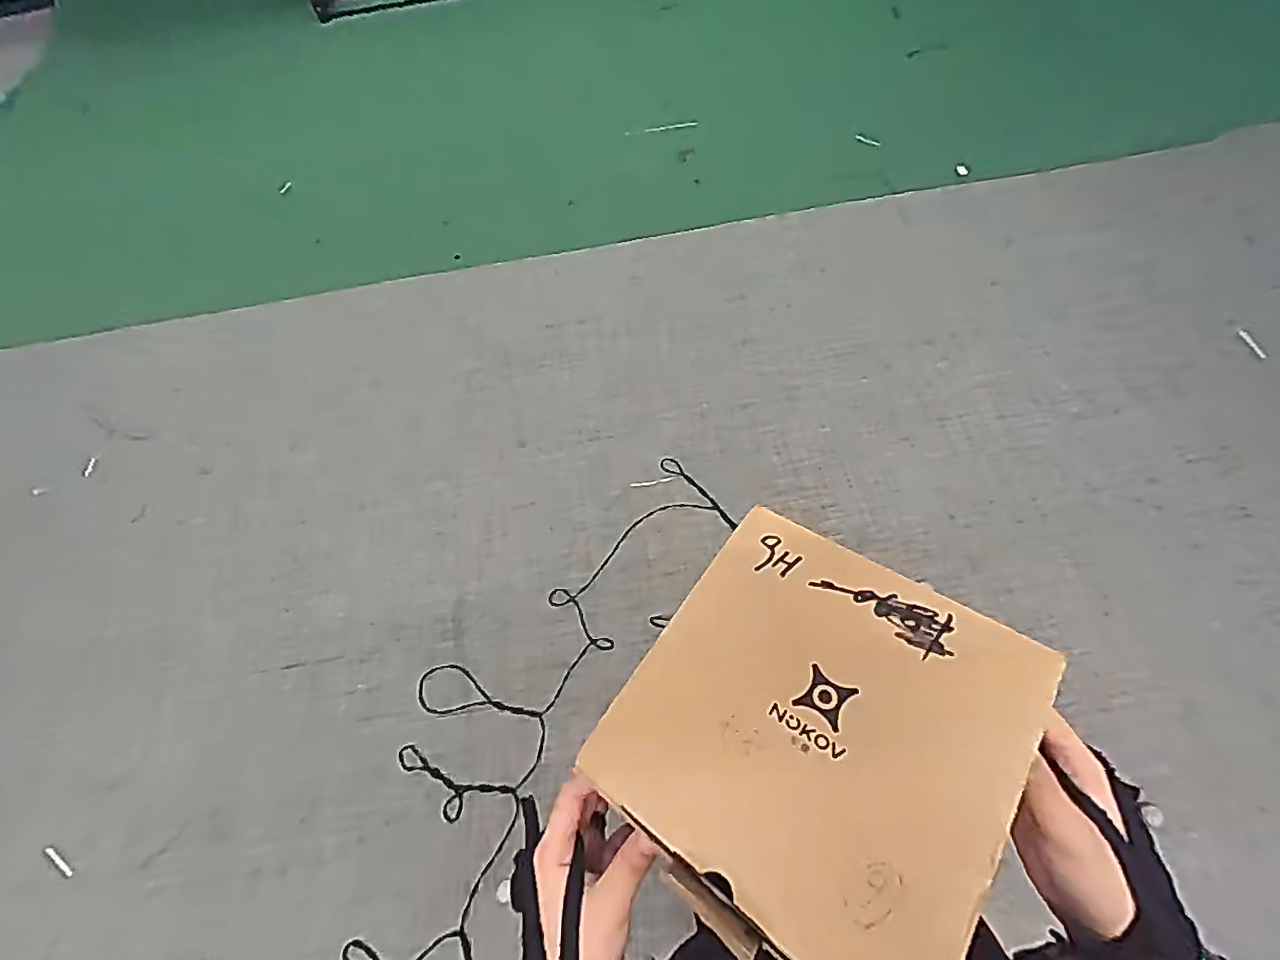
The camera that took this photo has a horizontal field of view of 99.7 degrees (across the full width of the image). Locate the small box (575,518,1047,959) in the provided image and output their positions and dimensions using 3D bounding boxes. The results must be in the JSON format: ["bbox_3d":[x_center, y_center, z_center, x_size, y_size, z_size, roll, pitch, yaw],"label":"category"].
[{"bbox_3d":[0.094,0.162,0.325,0.168,0.176,0.179,28,65,28],"label":"small box"}]
